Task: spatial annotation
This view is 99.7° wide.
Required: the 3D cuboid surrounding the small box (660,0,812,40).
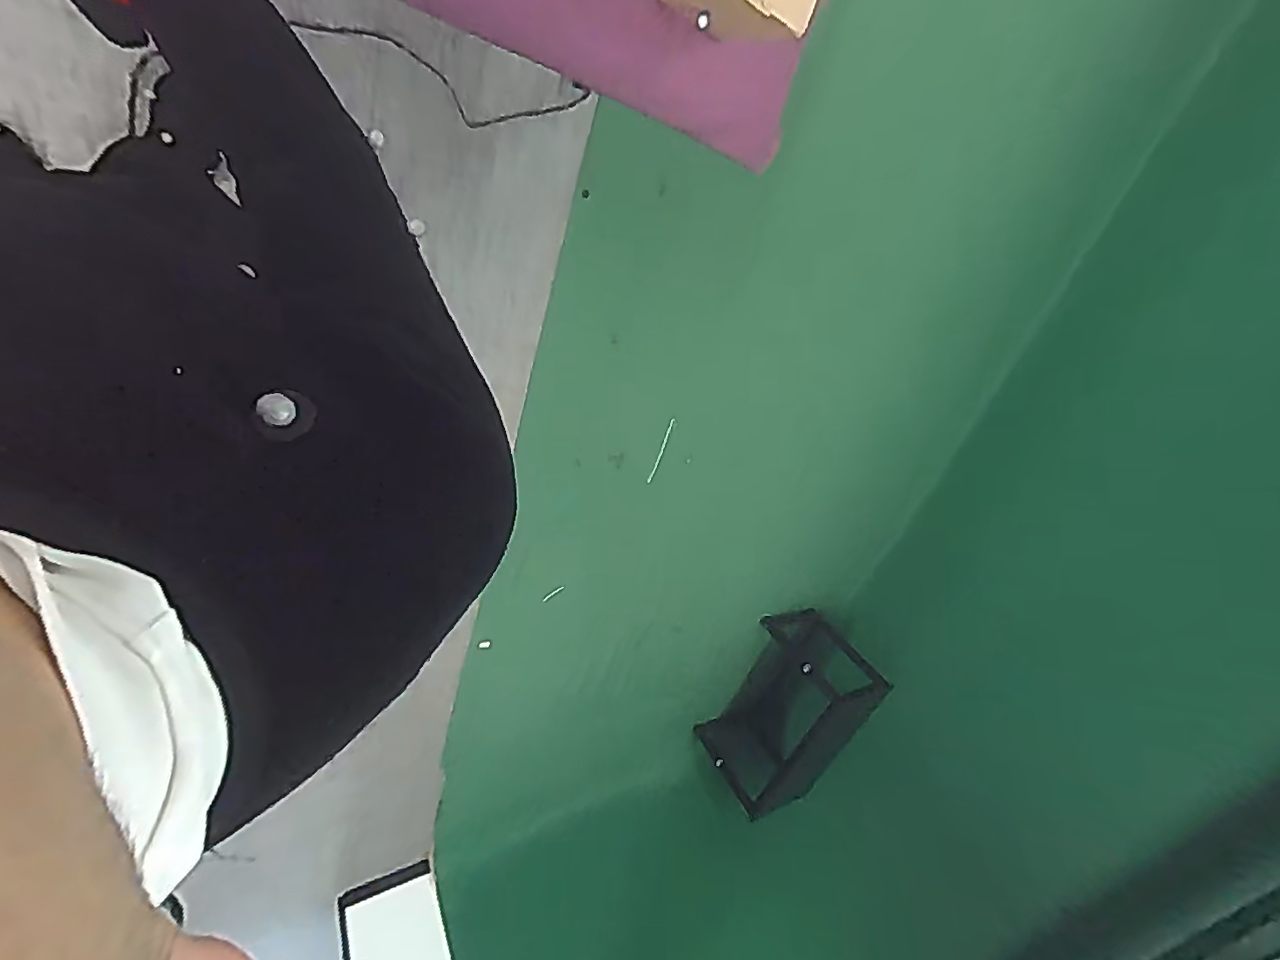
[{"bbox_3d":[0.125,-0.688,0.671,0.168,0.176,0.179,1,121,-35],"label":"small box"}]
